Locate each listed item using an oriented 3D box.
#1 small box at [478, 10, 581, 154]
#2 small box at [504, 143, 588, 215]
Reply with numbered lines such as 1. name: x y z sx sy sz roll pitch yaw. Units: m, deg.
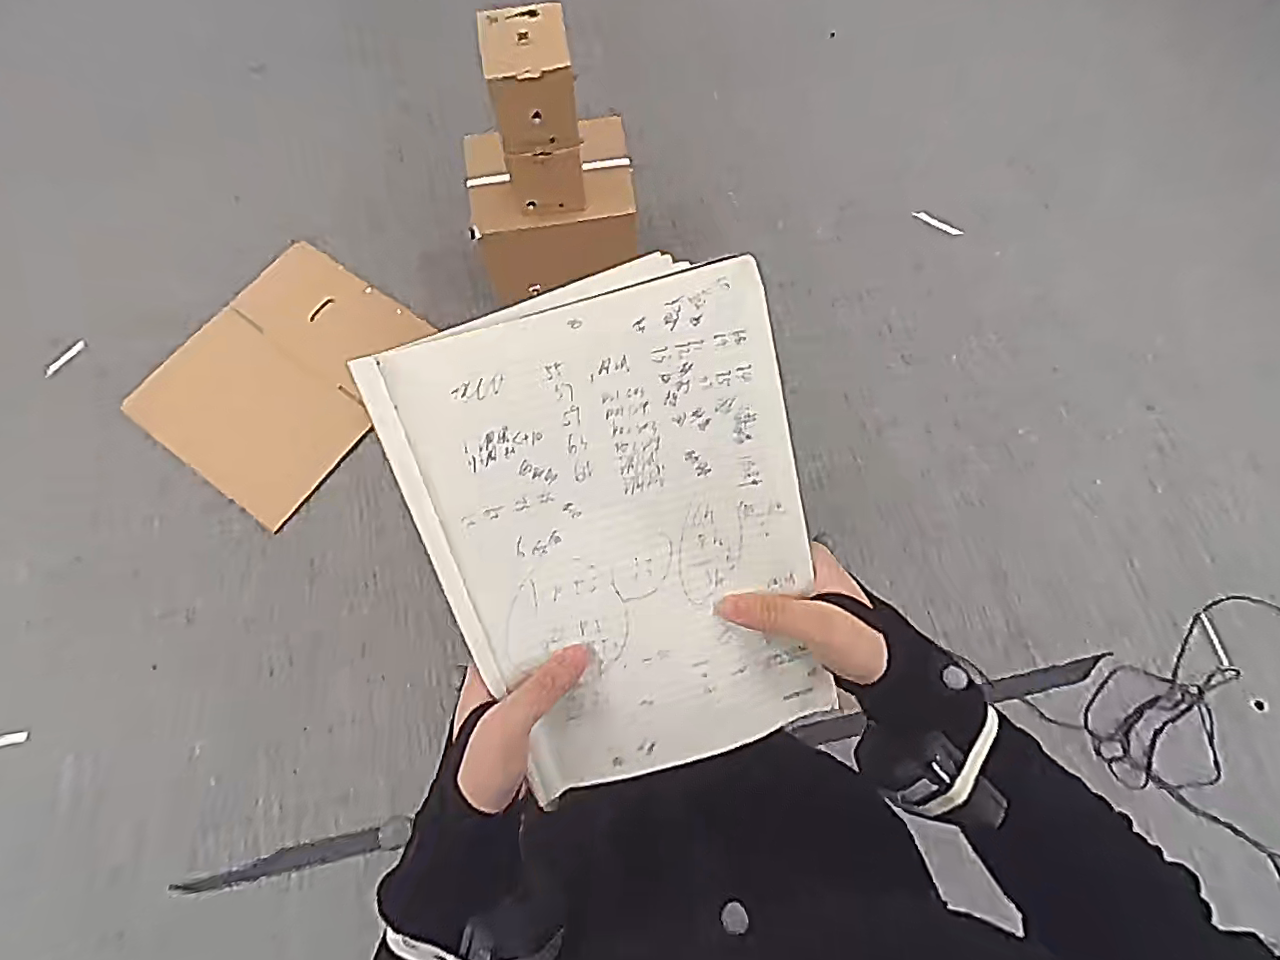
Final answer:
1. small box: -0.218 -0.798 1.103 0.168 0.176 0.179 -10 75 -3
2. small box: -0.216 -0.743 1.258 0.168 0.176 0.179 -7 74 -2
